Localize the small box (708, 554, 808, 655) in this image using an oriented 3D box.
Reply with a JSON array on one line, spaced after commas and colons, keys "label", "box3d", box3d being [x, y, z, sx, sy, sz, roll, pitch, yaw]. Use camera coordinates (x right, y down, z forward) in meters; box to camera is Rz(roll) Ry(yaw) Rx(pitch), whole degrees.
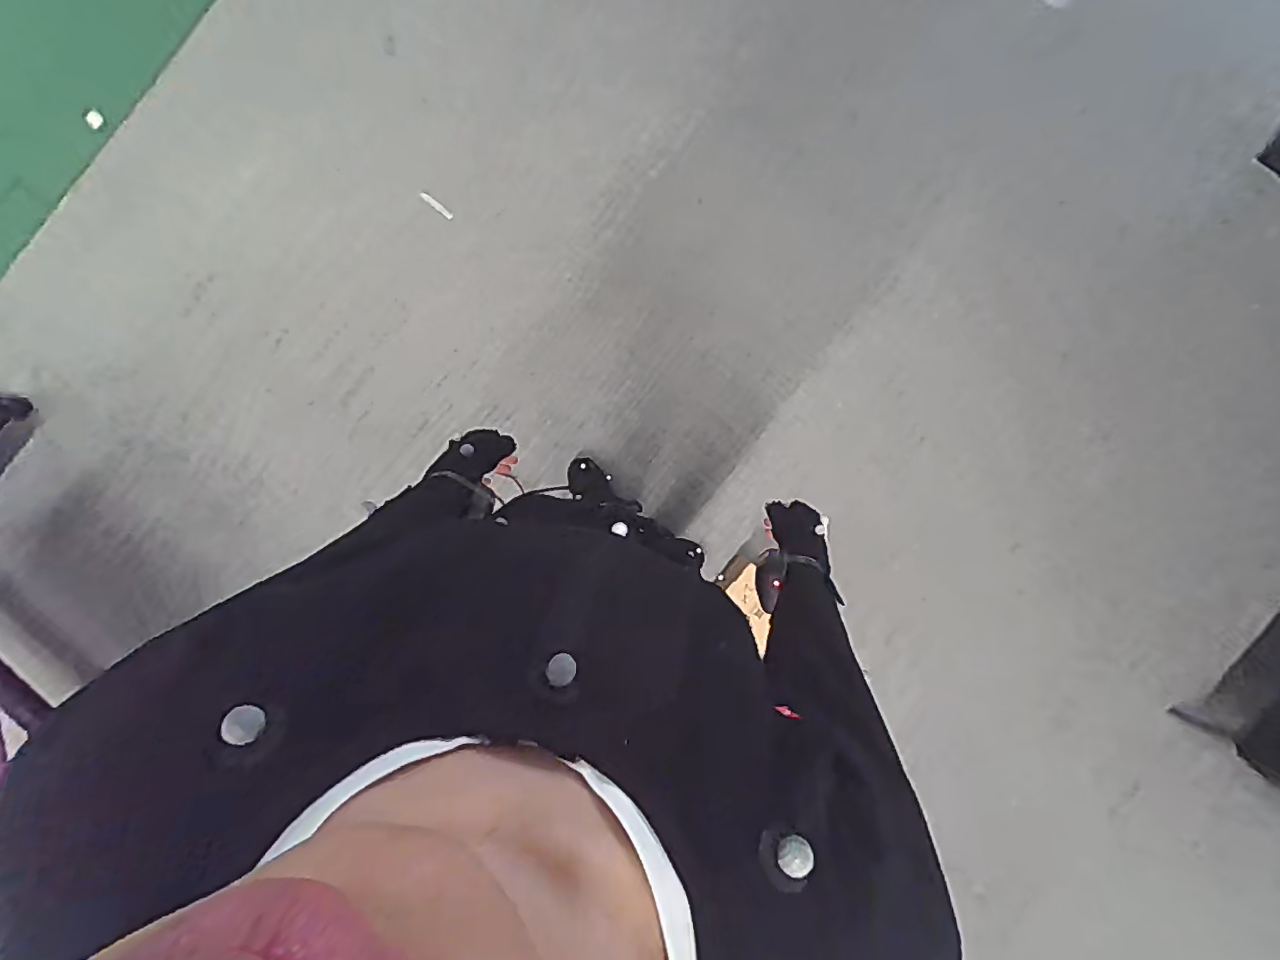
[{"label": "small box", "box3d": [0.294, 0.308, 1.388, 0.179, 0.176, 0.168, 40, 92, 2]}]
